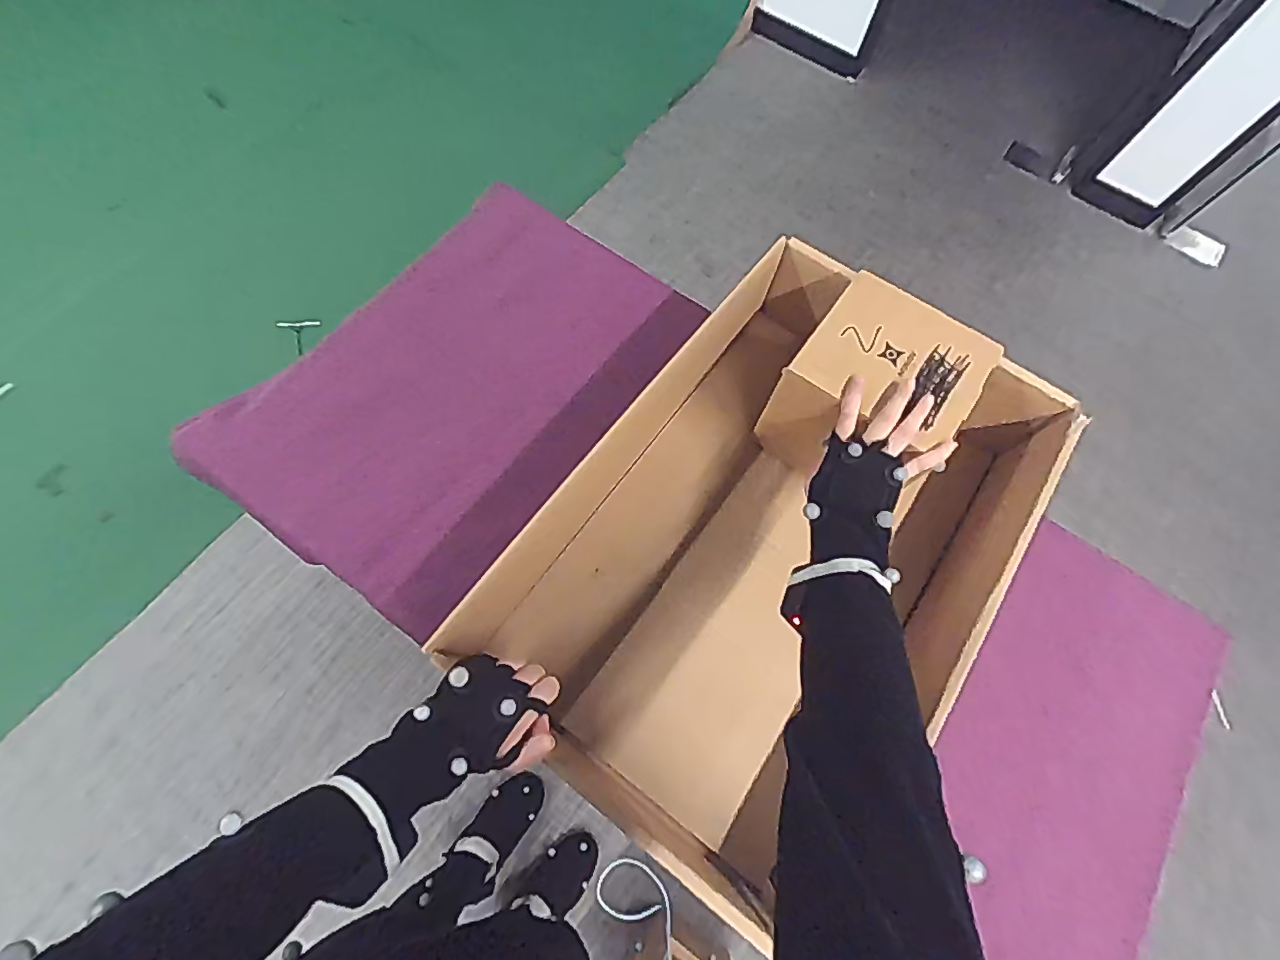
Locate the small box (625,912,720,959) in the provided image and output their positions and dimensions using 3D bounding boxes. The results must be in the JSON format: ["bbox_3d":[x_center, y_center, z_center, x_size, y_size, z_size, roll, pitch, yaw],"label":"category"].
[{"bbox_3d":[0.065,0.996,1.049,0.179,0.176,0.168,34,71,10],"label":"small box"}]
